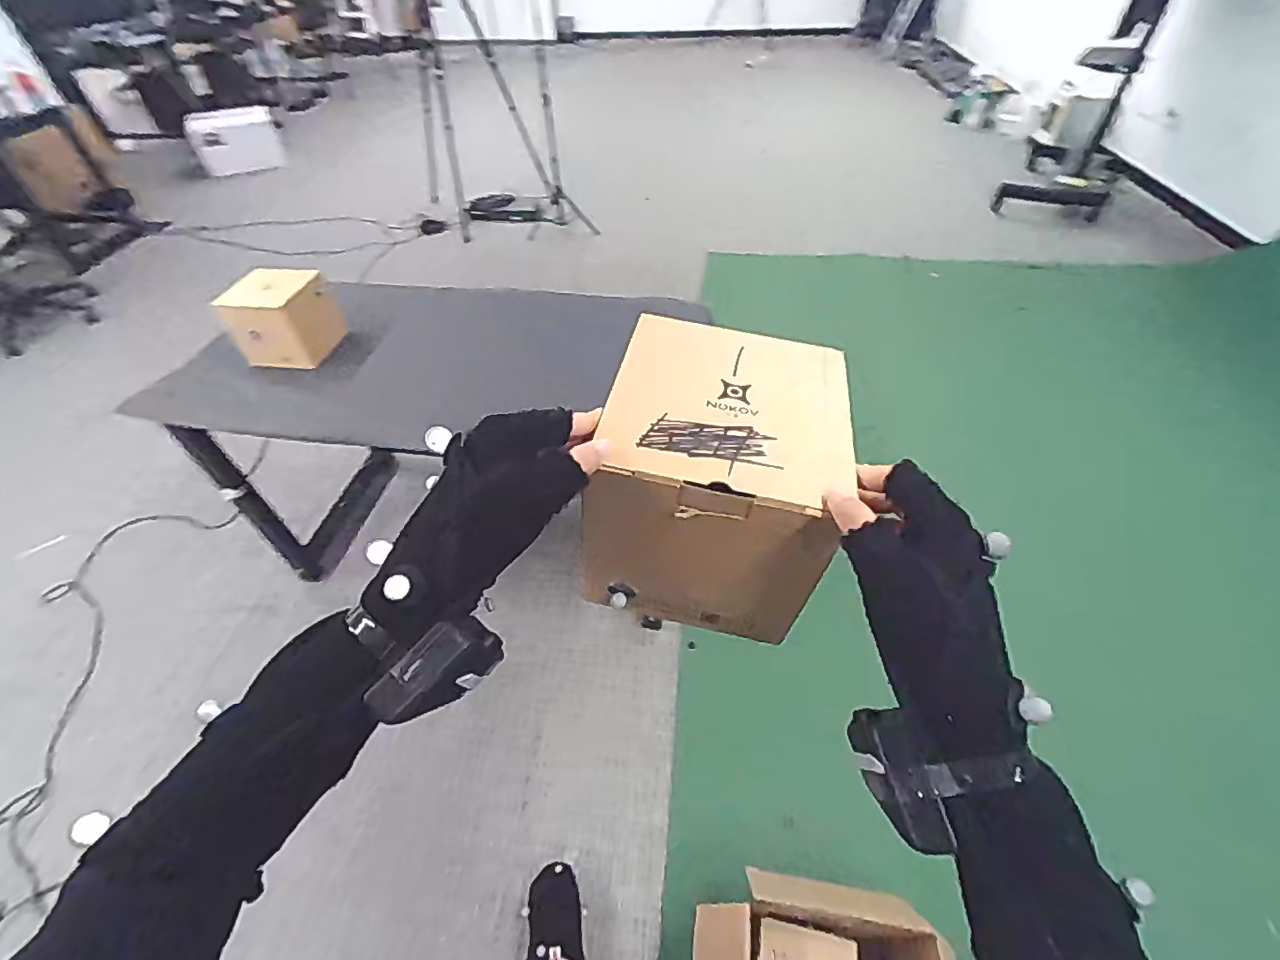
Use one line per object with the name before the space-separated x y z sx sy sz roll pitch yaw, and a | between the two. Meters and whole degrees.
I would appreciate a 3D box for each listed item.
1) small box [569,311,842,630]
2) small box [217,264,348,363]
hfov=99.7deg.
small box | 0.048 -0.005 0.430 0.168 0.176 0.179 11 48 4
small box | -0.839 -0.397 1.295 0.168 0.176 0.179 4 47 6
